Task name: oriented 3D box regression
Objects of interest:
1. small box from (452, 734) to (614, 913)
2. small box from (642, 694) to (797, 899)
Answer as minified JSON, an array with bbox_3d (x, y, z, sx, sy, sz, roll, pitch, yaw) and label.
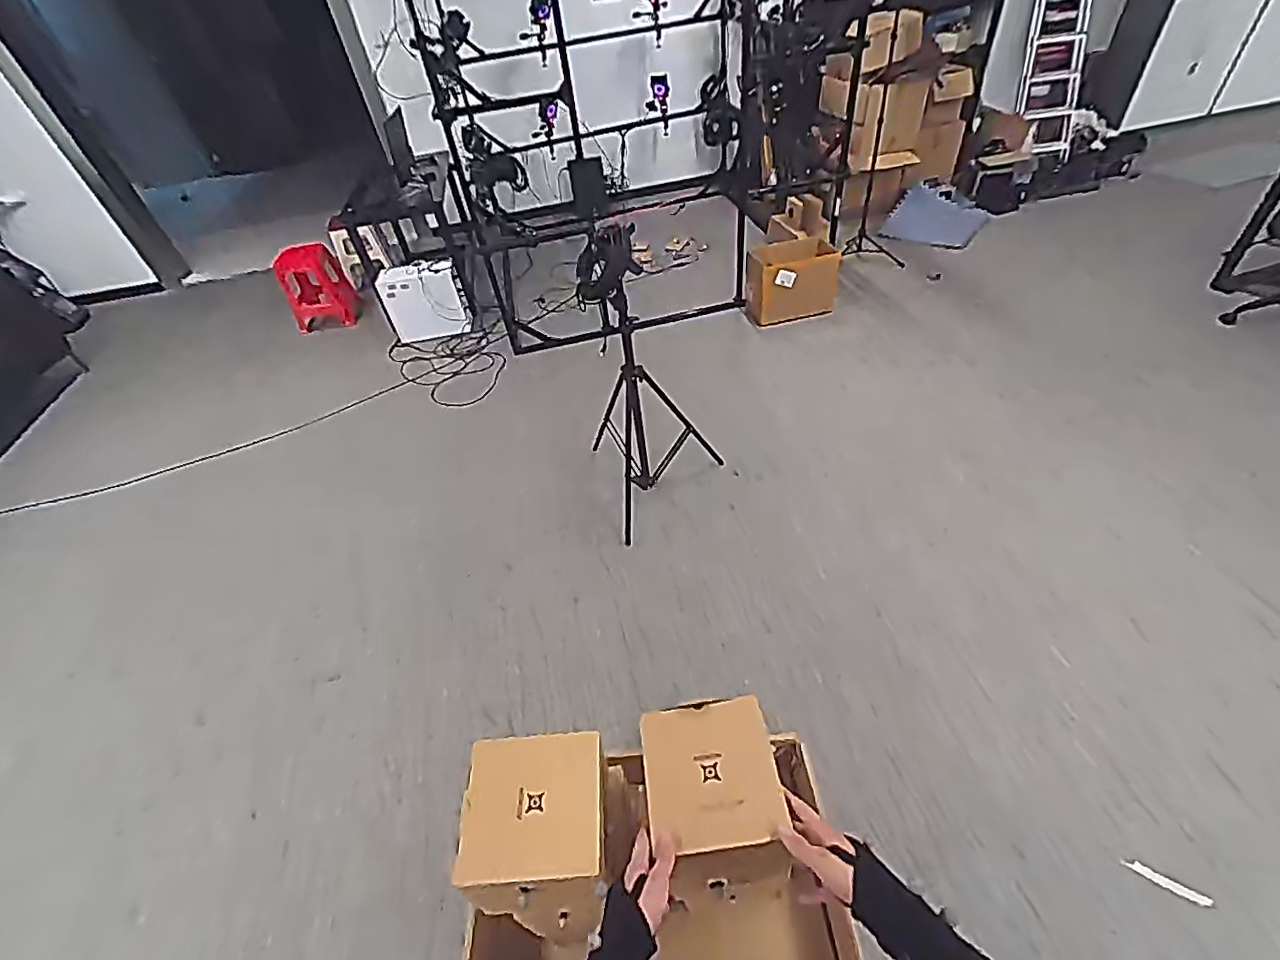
[{"bbox_3d":[-0.128,0.465,0.731,0.179,0.176,0.168,-6,43,1],"label":"small box"},{"bbox_3d":[0.099,0.420,0.721,0.168,0.176,0.179,-10,38,1],"label":"small box"}]
